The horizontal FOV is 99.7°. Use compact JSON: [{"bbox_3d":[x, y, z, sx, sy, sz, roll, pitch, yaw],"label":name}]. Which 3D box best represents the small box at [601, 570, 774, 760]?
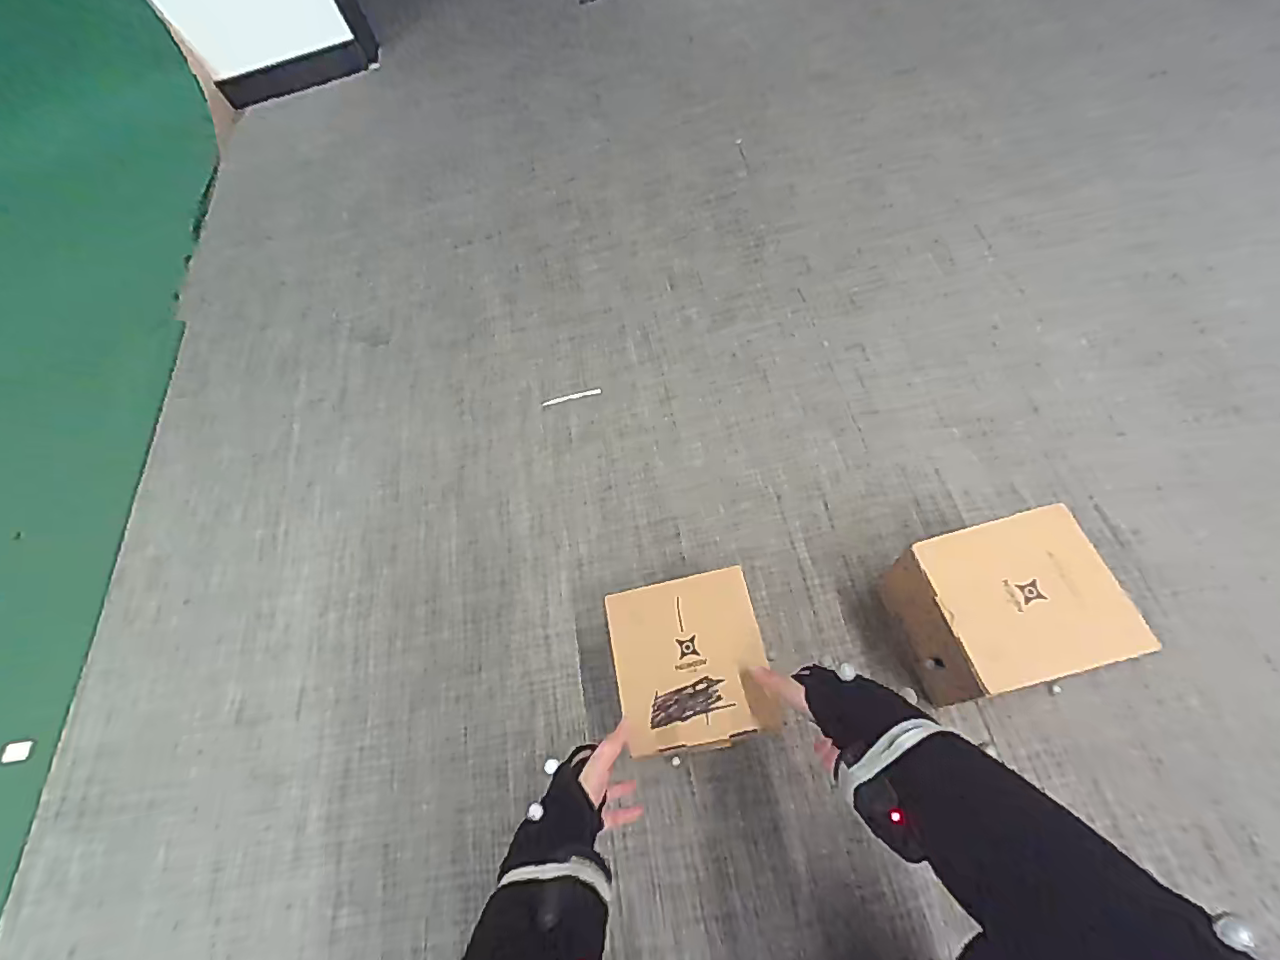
[{"bbox_3d":[0.061,0.233,0.665,0.168,0.176,0.179,-14,61,4],"label":"small box"}]

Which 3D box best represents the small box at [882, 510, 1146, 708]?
[{"bbox_3d":[0.406,0.160,0.635,0.179,0.176,0.168,-16,62,2],"label":"small box"}]
